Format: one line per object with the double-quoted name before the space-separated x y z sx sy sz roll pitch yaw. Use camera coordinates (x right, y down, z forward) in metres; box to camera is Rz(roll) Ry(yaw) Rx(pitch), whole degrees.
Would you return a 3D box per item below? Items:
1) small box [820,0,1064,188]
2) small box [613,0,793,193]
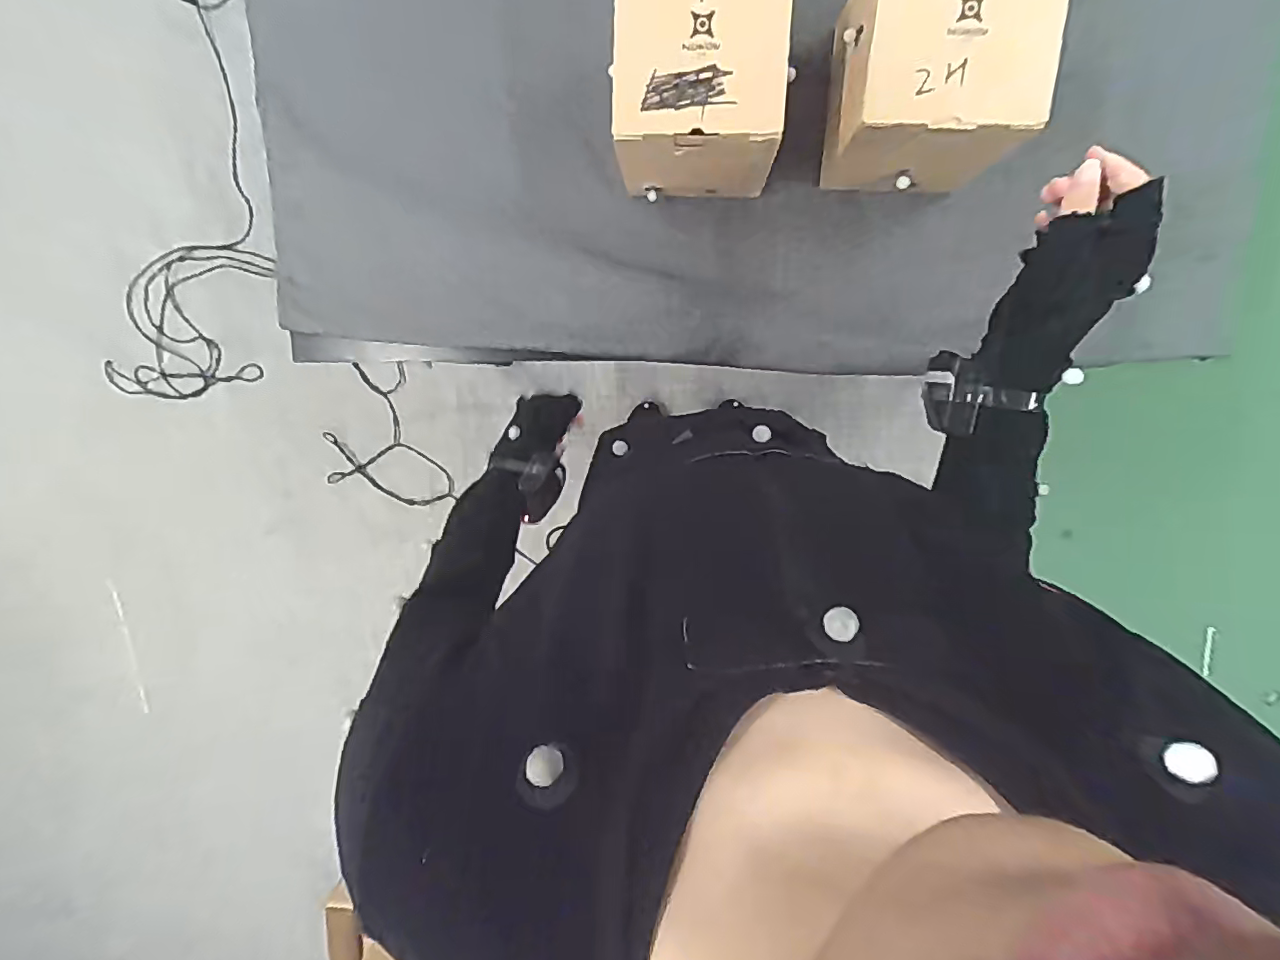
"small box" 0.297 -0.430 0.562 0.168 0.176 0.179 7 103 5
"small box" 0.066 -0.428 0.582 0.168 0.176 0.179 3 99 5
